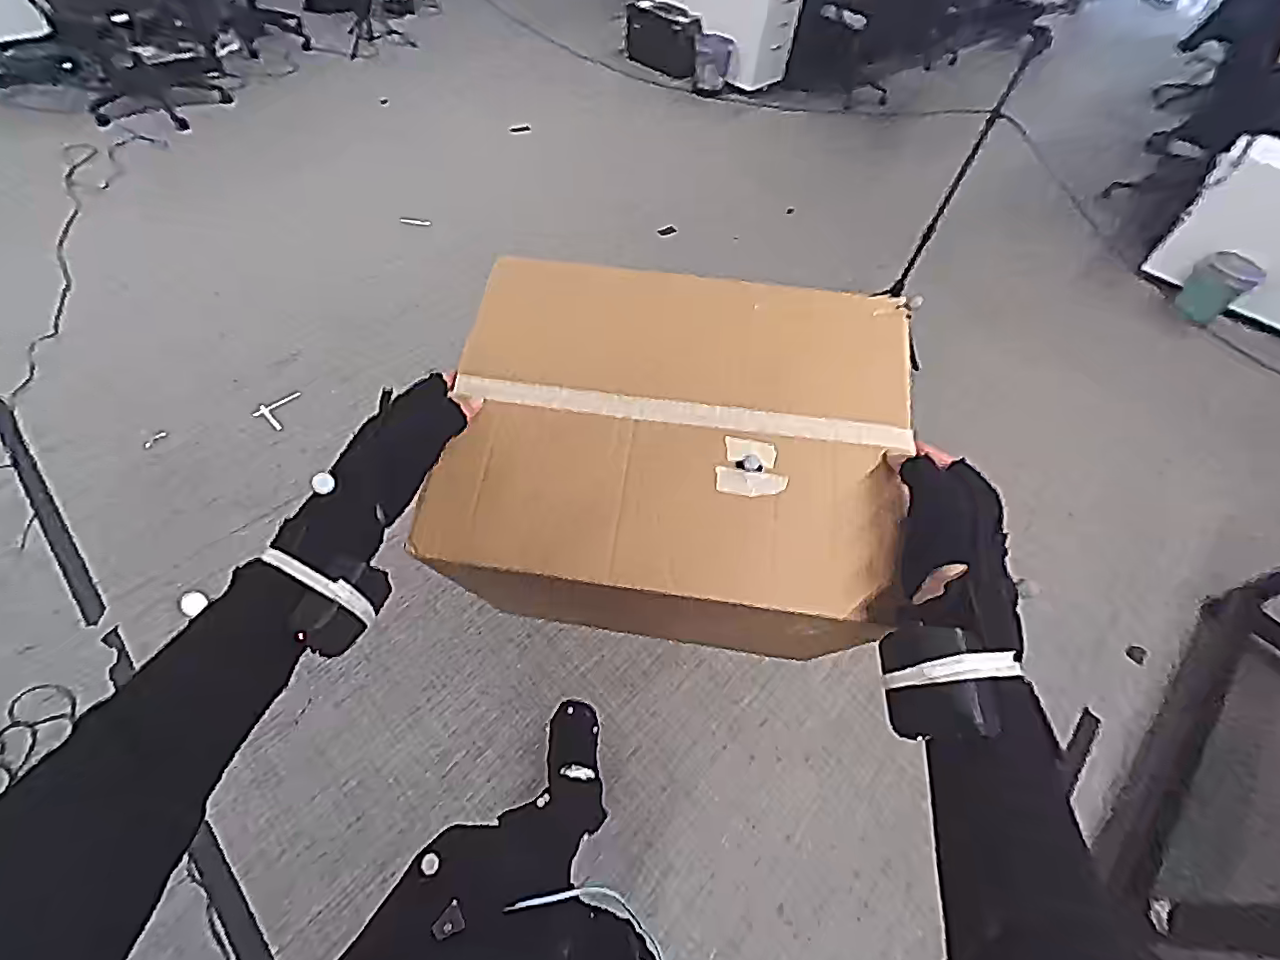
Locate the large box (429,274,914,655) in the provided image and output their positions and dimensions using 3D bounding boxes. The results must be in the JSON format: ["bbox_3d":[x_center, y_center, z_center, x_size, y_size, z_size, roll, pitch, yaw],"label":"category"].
[{"bbox_3d":[0.039,0.006,0.627,0.408,0.320,0.320,8,69,3],"label":"large box"}]
